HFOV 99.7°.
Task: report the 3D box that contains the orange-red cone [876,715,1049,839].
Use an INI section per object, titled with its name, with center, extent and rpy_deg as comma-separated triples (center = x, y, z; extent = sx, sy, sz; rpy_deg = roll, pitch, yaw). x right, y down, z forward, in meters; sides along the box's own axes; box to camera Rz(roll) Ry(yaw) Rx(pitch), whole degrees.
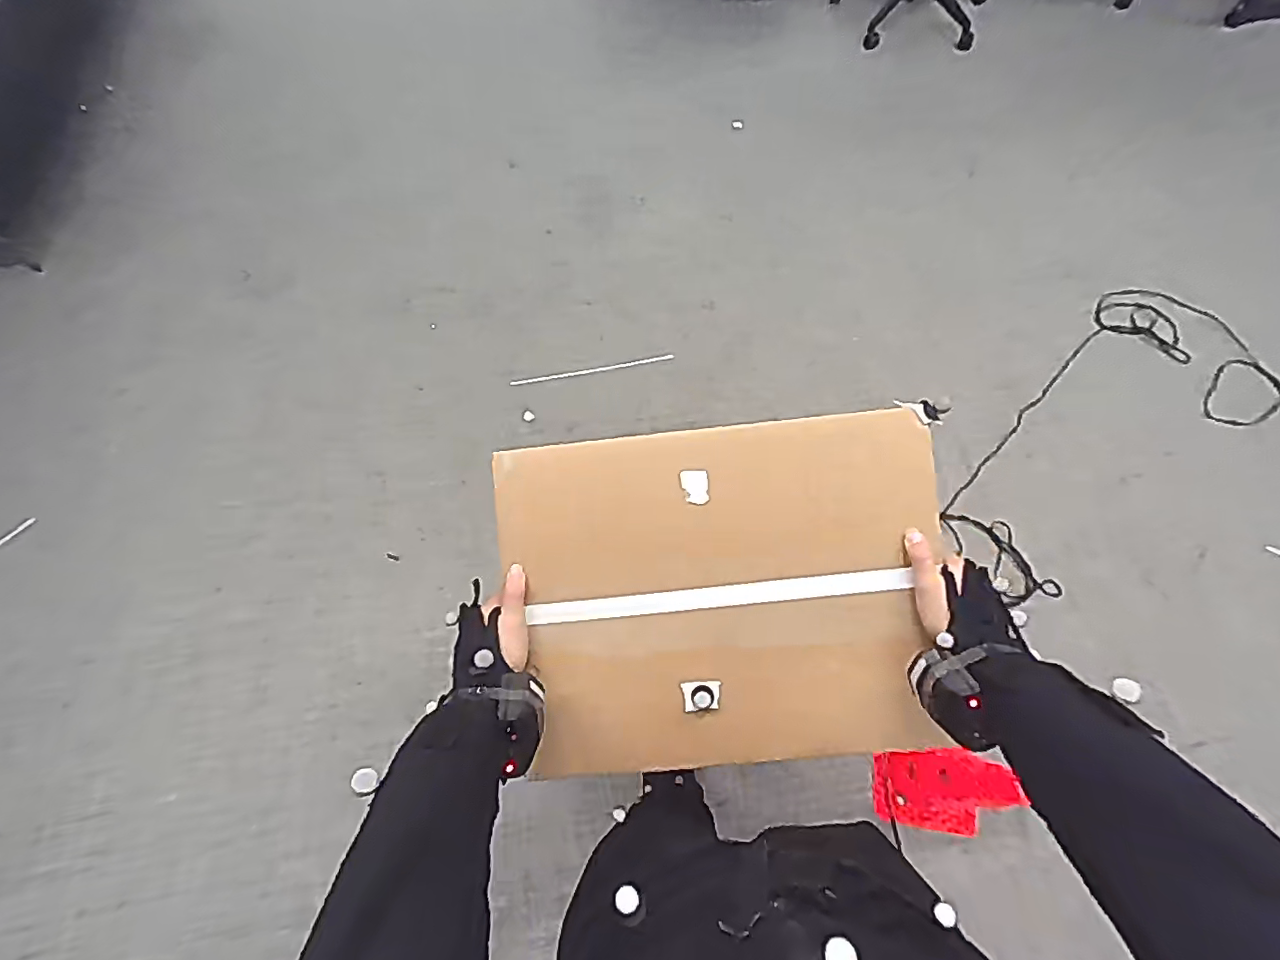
[orange-red cone]
center = 0.576, 0.522, 0.934
extent = 0.199, 0.360, 0.198
rpy_deg = 9, 66, 6
